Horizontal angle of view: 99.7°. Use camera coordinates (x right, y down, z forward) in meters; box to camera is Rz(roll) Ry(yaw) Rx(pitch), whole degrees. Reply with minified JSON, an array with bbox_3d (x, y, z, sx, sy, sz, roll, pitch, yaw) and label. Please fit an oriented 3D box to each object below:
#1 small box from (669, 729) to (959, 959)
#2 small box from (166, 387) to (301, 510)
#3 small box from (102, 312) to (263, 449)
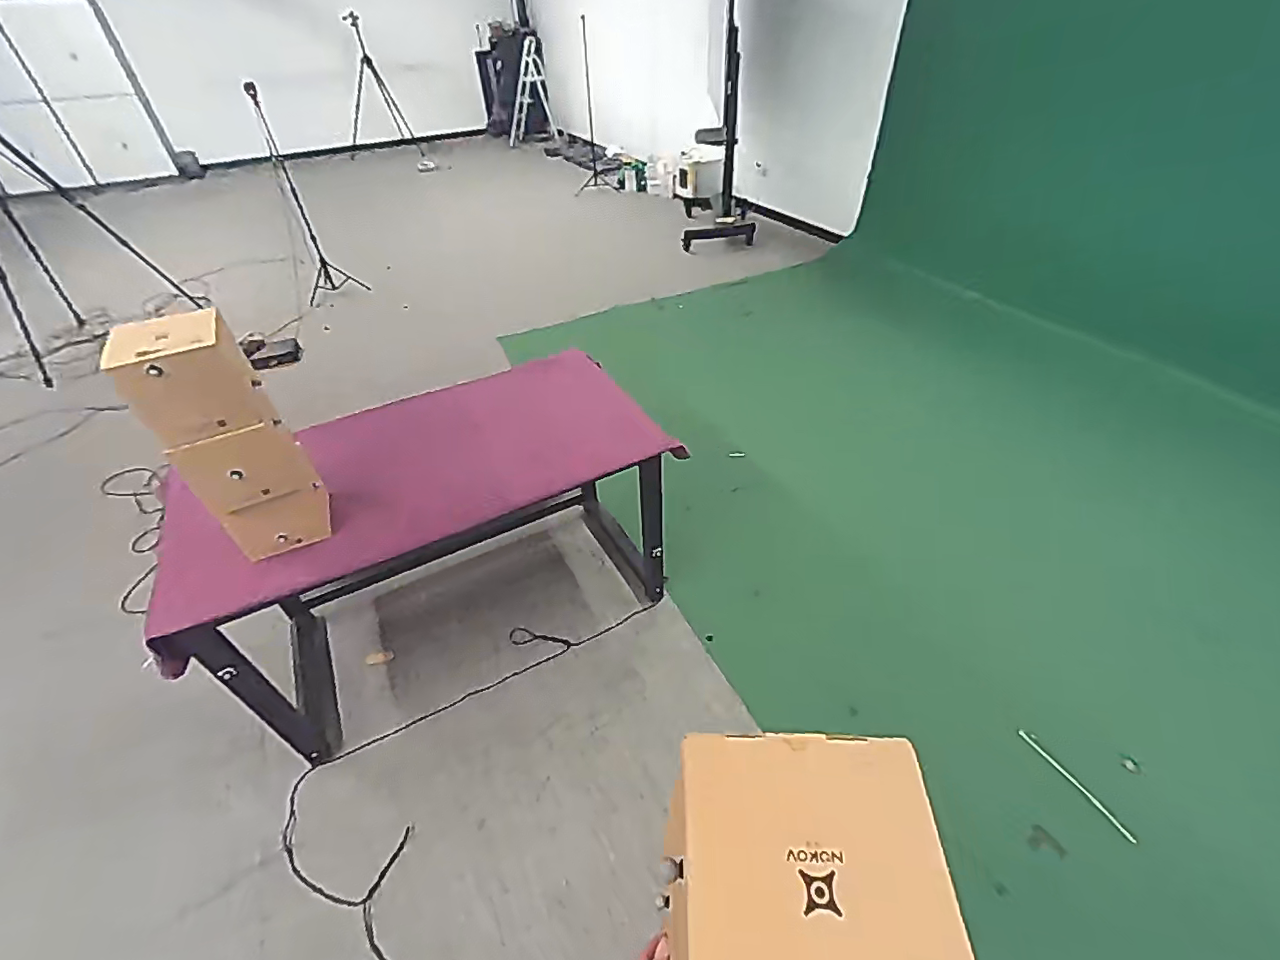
[{"bbox_3d":[0.106,0.302,0.399,0.168,0.176,0.179,0,47,2],"label":"small box"},{"bbox_3d":[-0.820,-0.059,1.106,0.168,0.176,0.179,-21,45,-20],"label":"small box"},{"bbox_3d":[-0.829,-0.185,1.002,0.168,0.176,0.179,-22,46,-20],"label":"small box"}]
